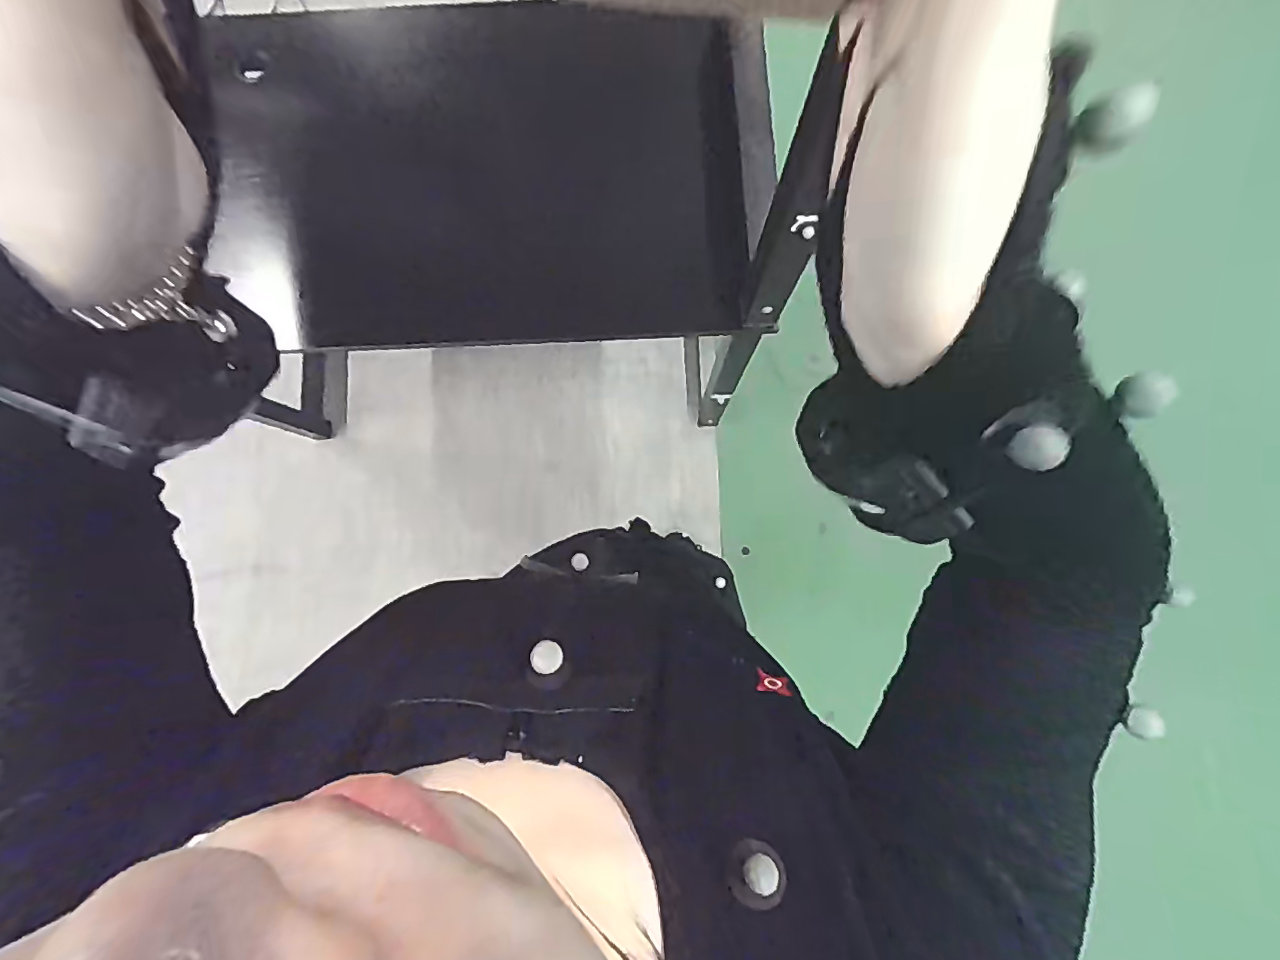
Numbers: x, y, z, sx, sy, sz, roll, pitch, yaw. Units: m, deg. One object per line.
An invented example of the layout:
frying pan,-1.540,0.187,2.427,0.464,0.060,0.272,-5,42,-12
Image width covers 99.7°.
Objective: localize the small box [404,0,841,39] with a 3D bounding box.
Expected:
small box,-0.017,-0.189,0.072,0.179,0.176,0.168,8,116,1
